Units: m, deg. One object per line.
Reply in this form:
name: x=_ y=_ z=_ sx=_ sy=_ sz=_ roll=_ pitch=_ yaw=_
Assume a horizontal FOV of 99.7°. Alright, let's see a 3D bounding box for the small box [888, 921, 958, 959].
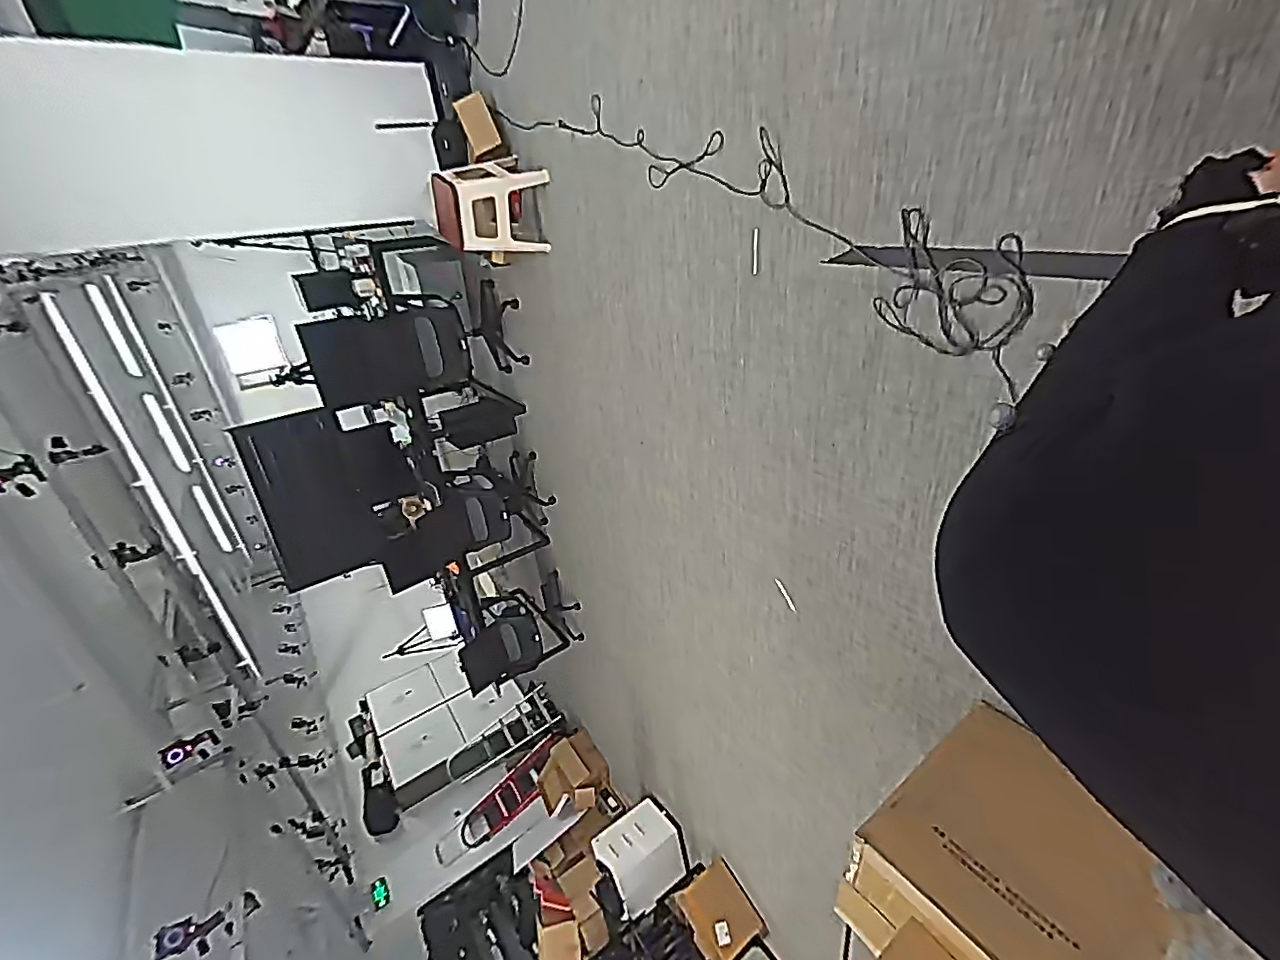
small box: x=0.630 y=1.130 z=1.175 sx=0.179 sy=0.176 sz=0.168 roll=34 pitch=136 yaw=47
